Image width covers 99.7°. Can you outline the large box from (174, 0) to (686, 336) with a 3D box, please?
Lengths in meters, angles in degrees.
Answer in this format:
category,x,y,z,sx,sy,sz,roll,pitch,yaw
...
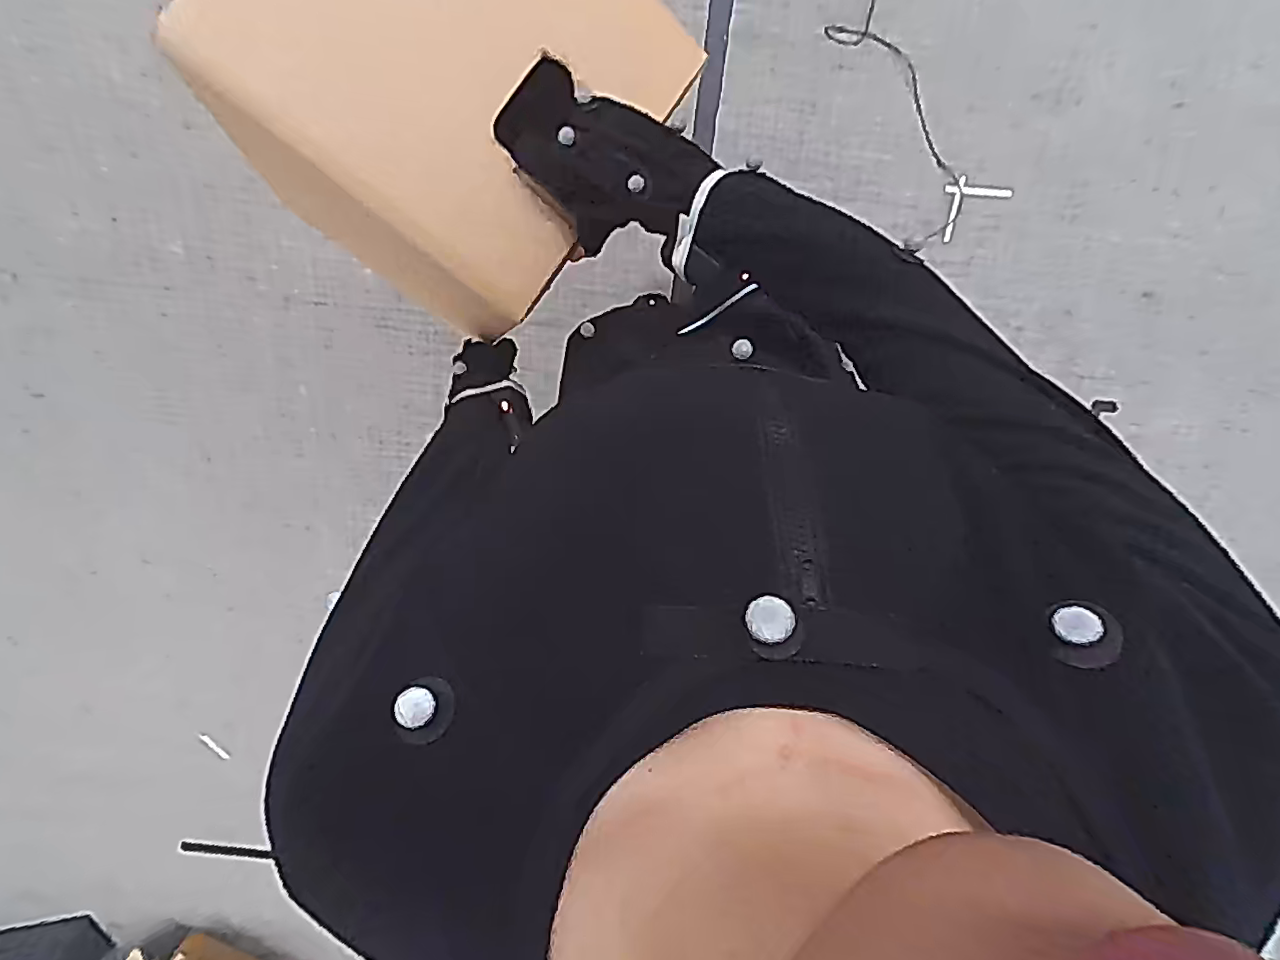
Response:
category,x,y,z,sx,sy,sz,roll,pitch,yaw
large box,-0.216,-0.395,0.633,0.320,0.408,0.320,36,87,-23
